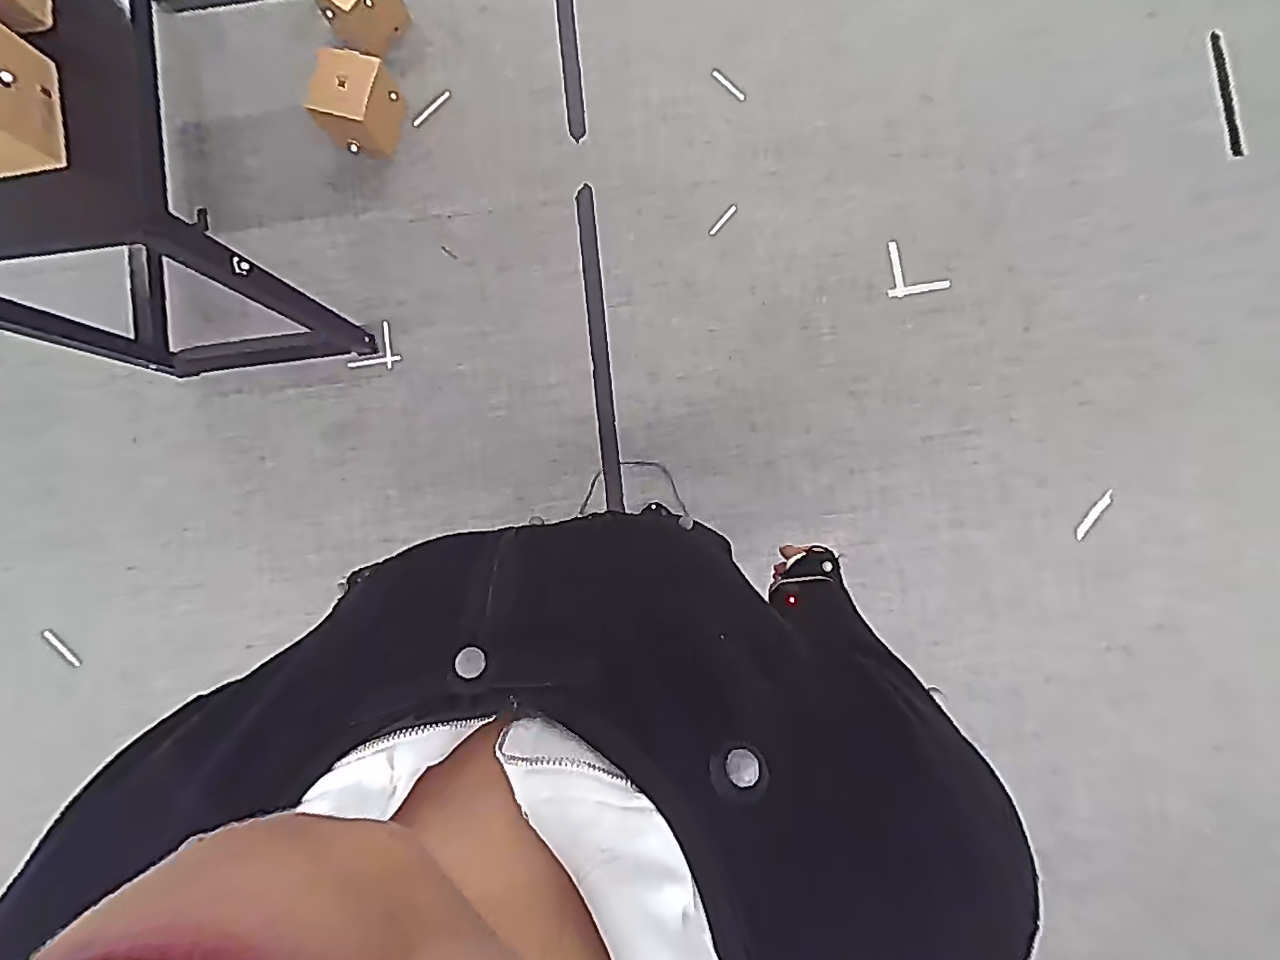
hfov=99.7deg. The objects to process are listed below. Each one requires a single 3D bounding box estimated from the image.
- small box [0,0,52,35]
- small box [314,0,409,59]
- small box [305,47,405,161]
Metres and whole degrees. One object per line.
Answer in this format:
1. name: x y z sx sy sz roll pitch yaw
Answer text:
1. small box: -0.991 -0.759 0.749 0.179 0.176 0.168 -7 88 0
2. small box: -0.784 -1.328 1.495 0.179 0.176 0.168 37 89 2
3. small box: -0.773 -1.025 1.487 0.168 0.176 0.179 14 89 2
